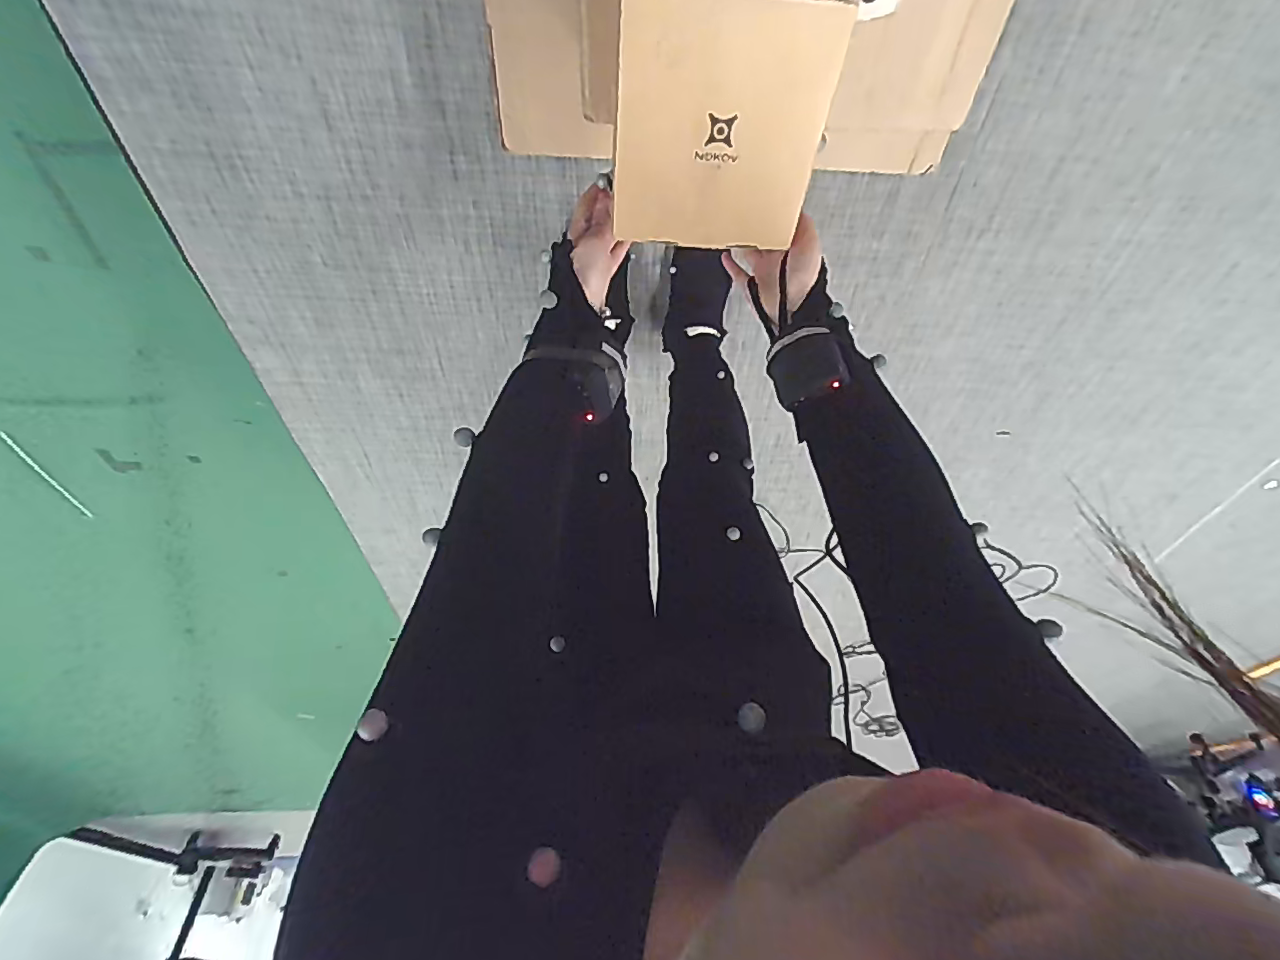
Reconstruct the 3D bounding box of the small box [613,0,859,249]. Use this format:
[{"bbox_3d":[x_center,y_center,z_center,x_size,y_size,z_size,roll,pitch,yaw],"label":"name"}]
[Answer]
[{"bbox_3d":[0.062,-0.331,0.480,0.168,0.176,0.179,1,138,-4],"label":"small box"}]
